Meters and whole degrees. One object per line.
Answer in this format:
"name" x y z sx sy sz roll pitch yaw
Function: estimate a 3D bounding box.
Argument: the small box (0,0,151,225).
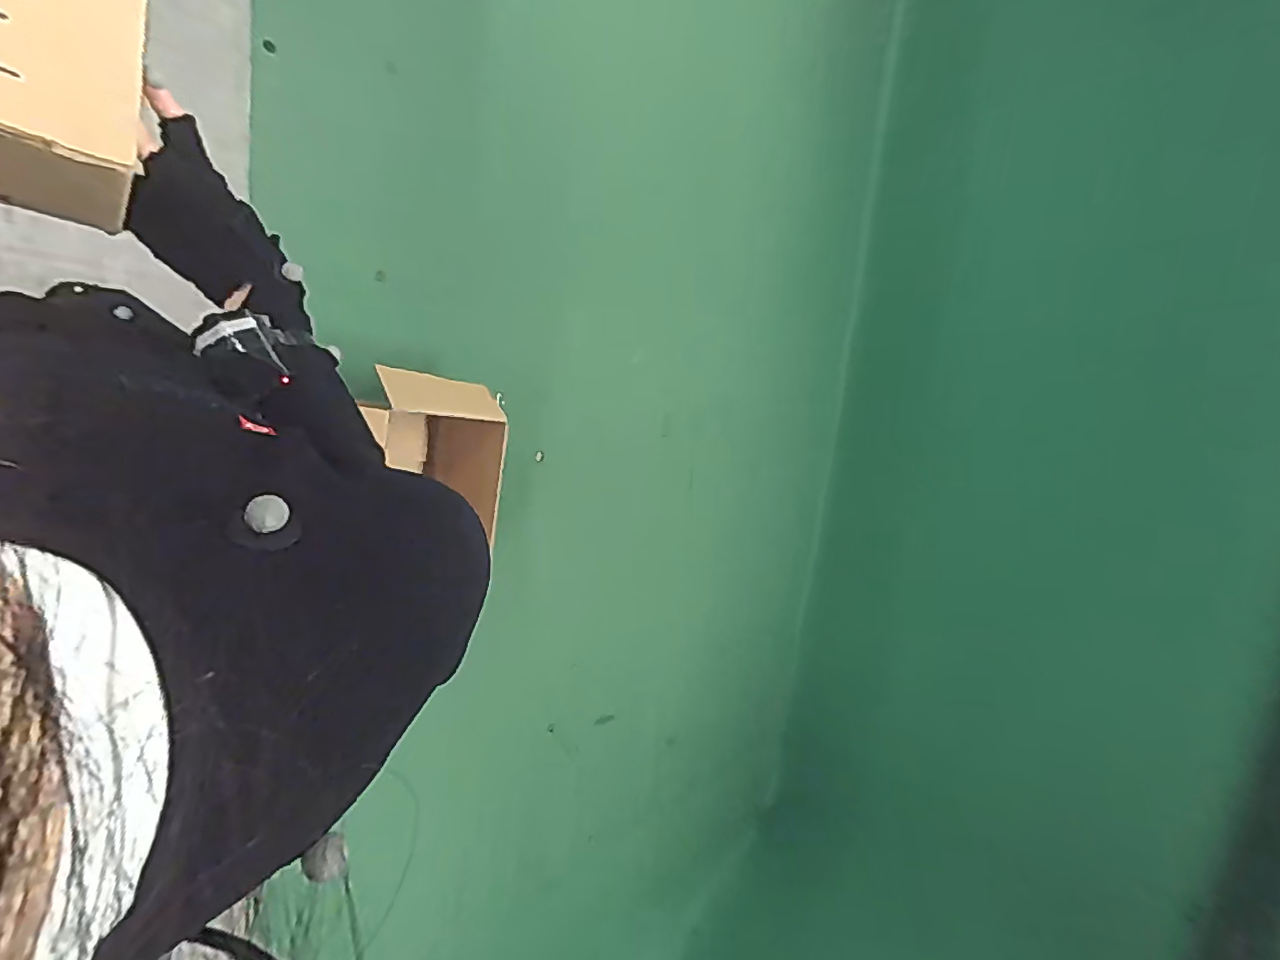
"small box" -0.391 -0.270 0.303 0.168 0.176 0.179 3 93 -47
